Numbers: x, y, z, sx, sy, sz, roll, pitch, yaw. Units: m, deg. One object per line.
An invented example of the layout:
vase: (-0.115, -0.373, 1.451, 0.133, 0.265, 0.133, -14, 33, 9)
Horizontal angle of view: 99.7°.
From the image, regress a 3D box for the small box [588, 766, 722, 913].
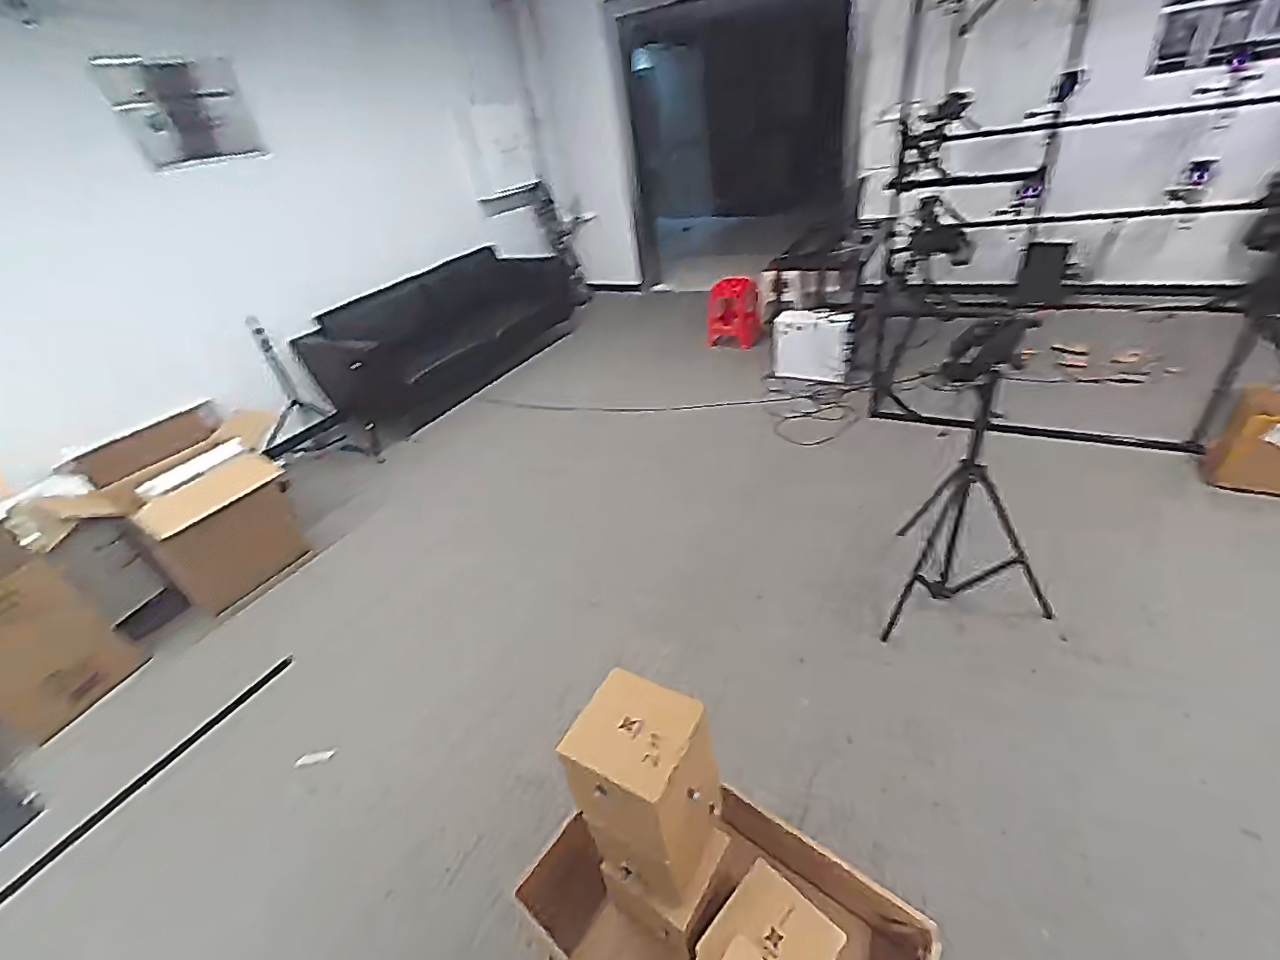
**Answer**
small box: (0.034, 0.585, 0.935, 0.168, 0.176, 0.179, 12, 38, 29)

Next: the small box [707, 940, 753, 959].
small box: (0.085, 0.604, 0.512, 0.168, 0.176, 0.179, 36, 45, 25)

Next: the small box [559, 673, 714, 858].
small box: (0.003, 0.446, 0.852, 0.179, 0.176, 0.168, 12, 38, 30)
